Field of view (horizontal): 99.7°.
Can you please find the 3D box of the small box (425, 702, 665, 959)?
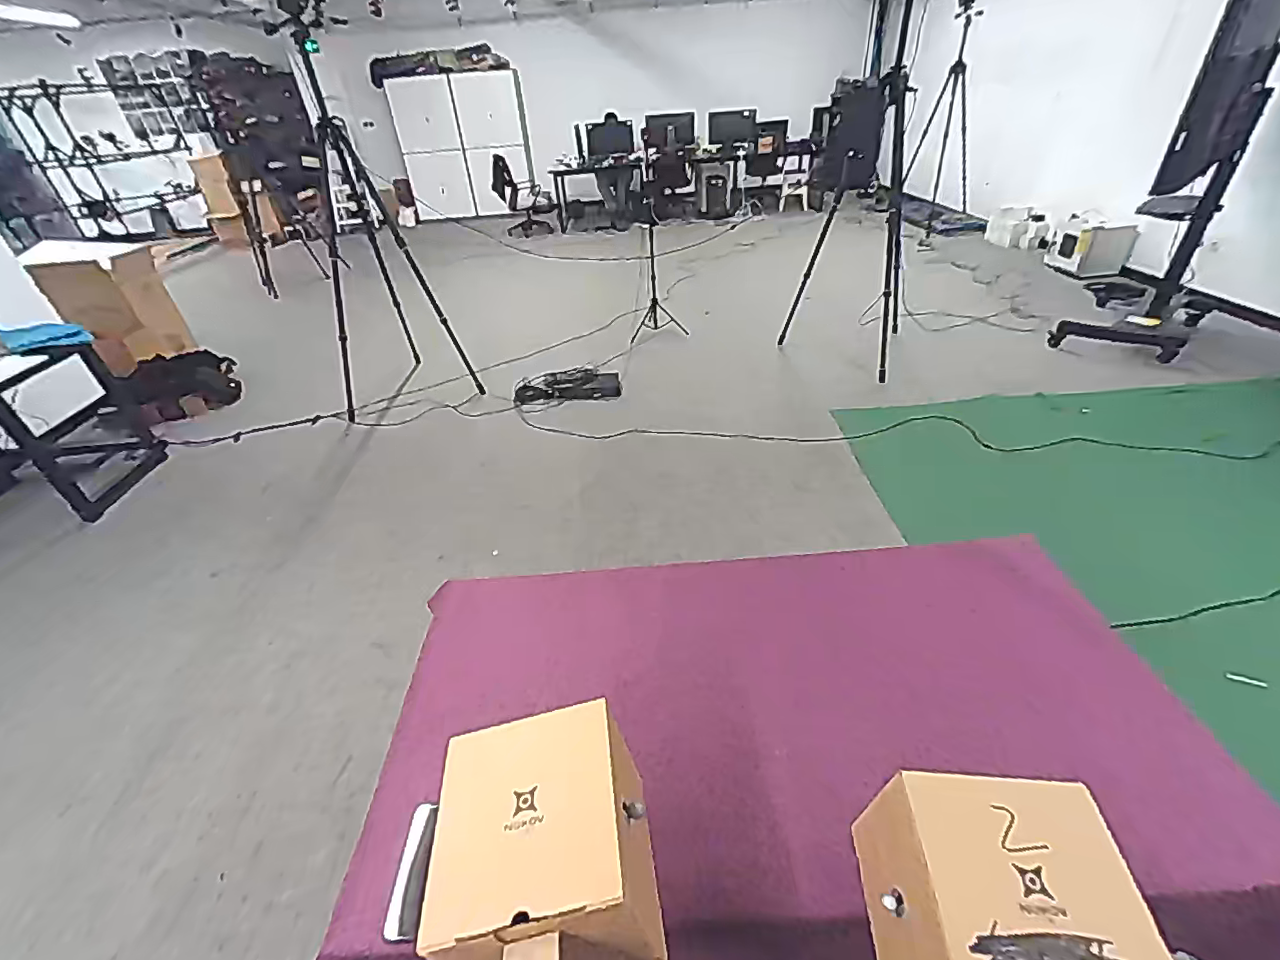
[{"bbox_3d":[-0.080,0.353,0.522,0.168,0.176,0.179,-14,35,0],"label":"small box"}]
